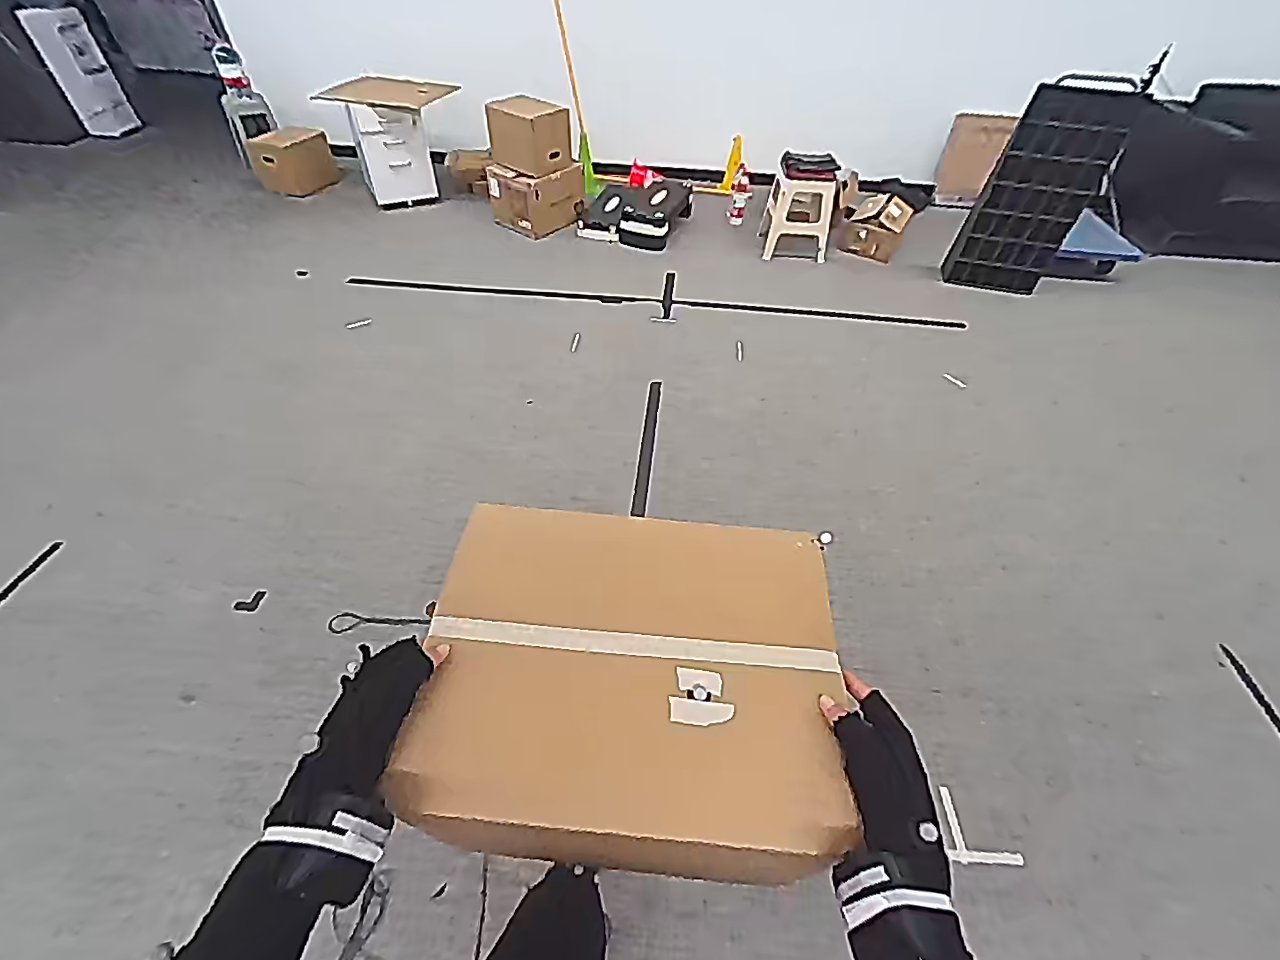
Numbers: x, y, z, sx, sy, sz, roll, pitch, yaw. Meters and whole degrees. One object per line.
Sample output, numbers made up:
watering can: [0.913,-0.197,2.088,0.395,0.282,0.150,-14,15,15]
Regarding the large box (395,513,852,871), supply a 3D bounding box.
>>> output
large box: [-0.013,0.267,0.669,0.408,0.320,0.320,5,51,1]
